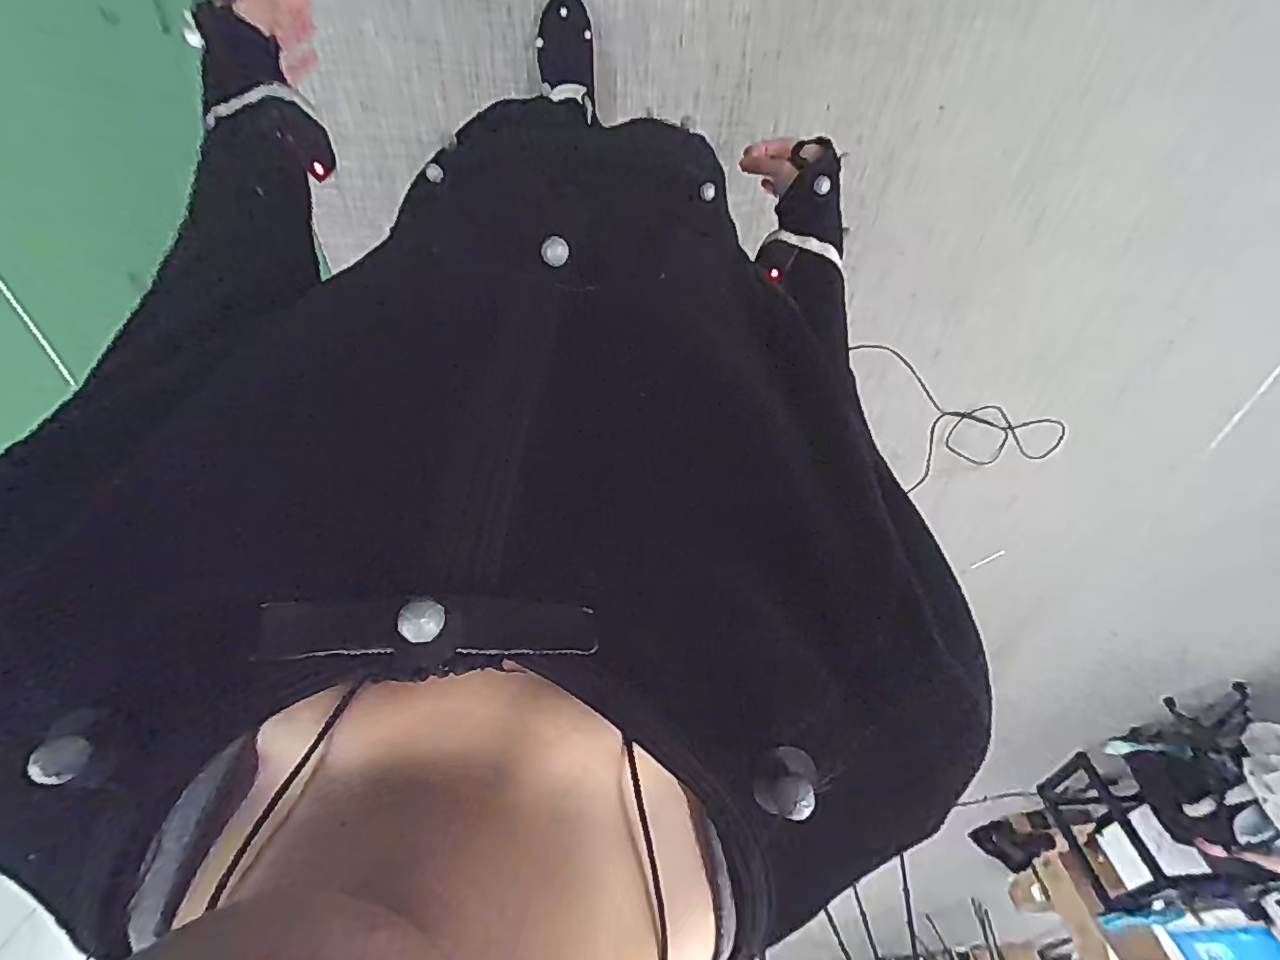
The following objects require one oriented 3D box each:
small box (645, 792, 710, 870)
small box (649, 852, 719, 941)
[{"bbox_3d":[0.110,1.085,1.673,0.179,0.176,0.168,-2,130,-3],"label":"small box"},{"bbox_3d":[0.119,1.189,1.546,0.179,0.176,0.168,-1,131,-4],"label":"small box"}]
